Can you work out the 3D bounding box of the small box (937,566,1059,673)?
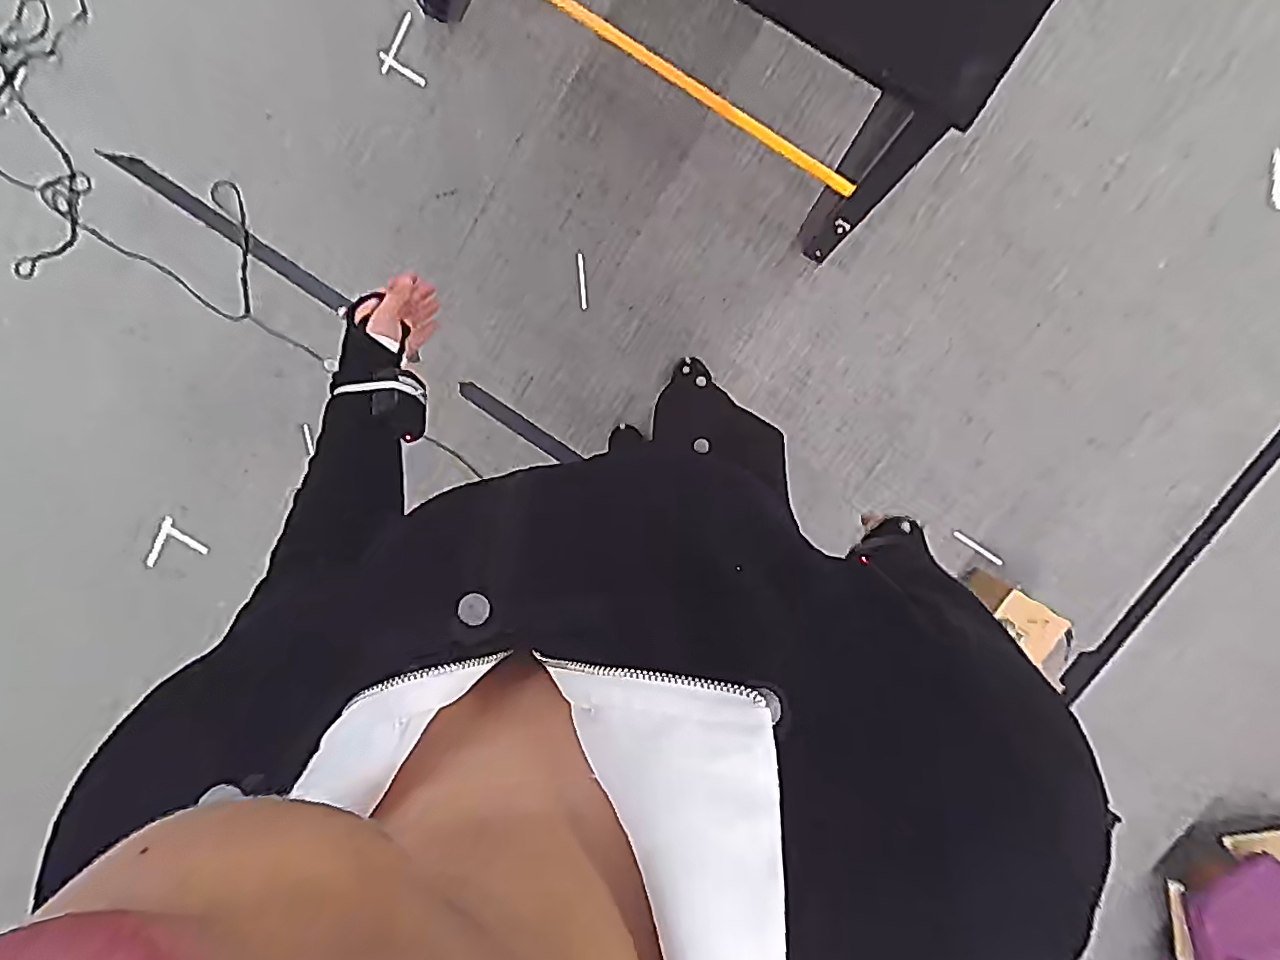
[{"bbox_3d":[0.909,0.353,1.399,0.168,0.176,0.179,32,99,-1],"label":"small box"}]
